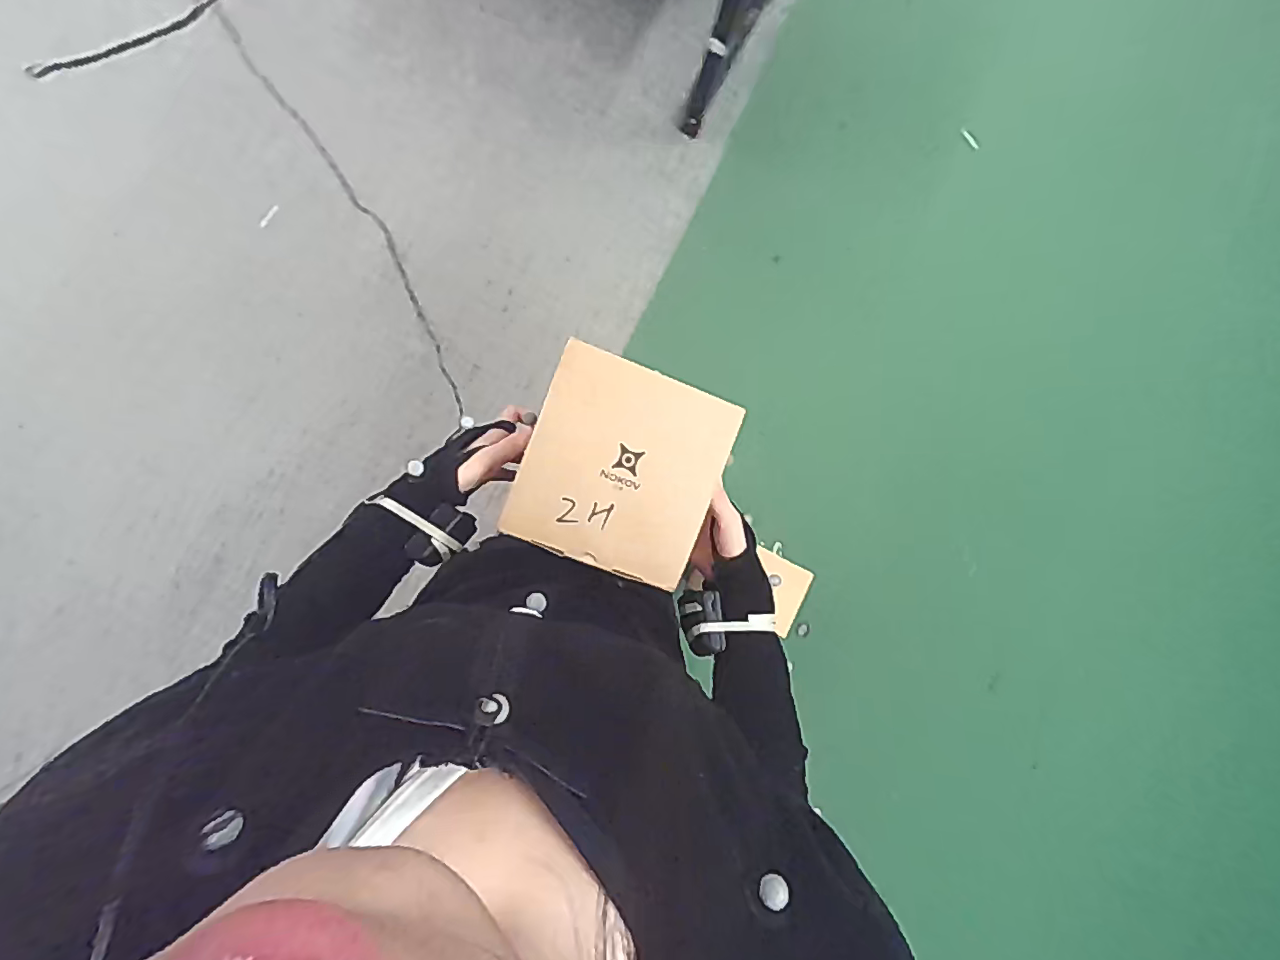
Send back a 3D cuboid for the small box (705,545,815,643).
[{"bbox_3d":[0.282,0.264,1.304,0.179,0.176,0.168,28,84,-6],"label":"small box"}]
